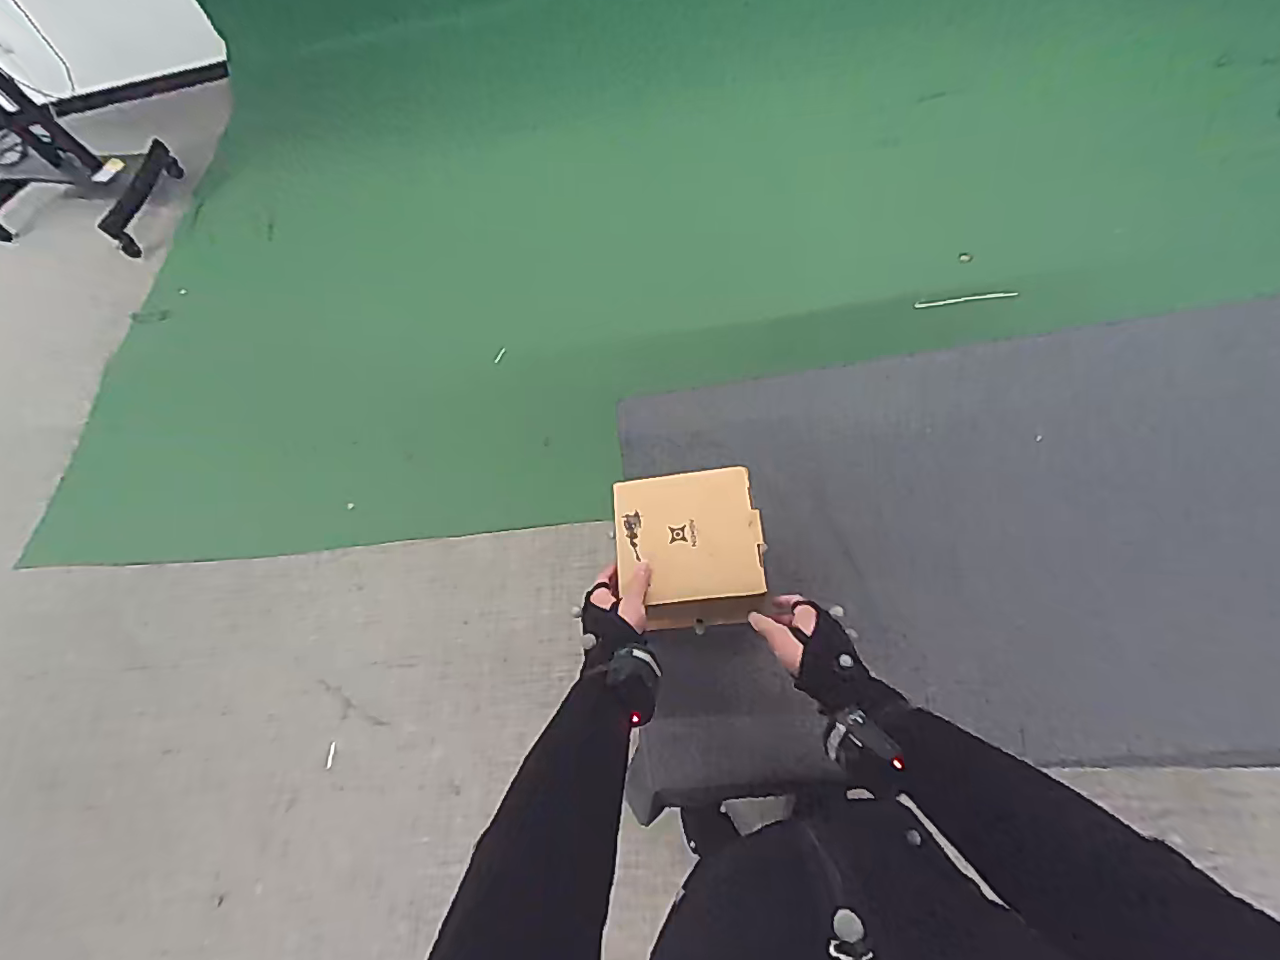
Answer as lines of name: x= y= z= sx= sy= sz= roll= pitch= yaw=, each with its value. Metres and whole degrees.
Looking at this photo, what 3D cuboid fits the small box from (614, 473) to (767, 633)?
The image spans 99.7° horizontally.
small box: x=0.066 y=0.106 z=0.730 sx=0.179 sy=0.176 sz=0.168 roll=-7 pitch=64 yaw=6
